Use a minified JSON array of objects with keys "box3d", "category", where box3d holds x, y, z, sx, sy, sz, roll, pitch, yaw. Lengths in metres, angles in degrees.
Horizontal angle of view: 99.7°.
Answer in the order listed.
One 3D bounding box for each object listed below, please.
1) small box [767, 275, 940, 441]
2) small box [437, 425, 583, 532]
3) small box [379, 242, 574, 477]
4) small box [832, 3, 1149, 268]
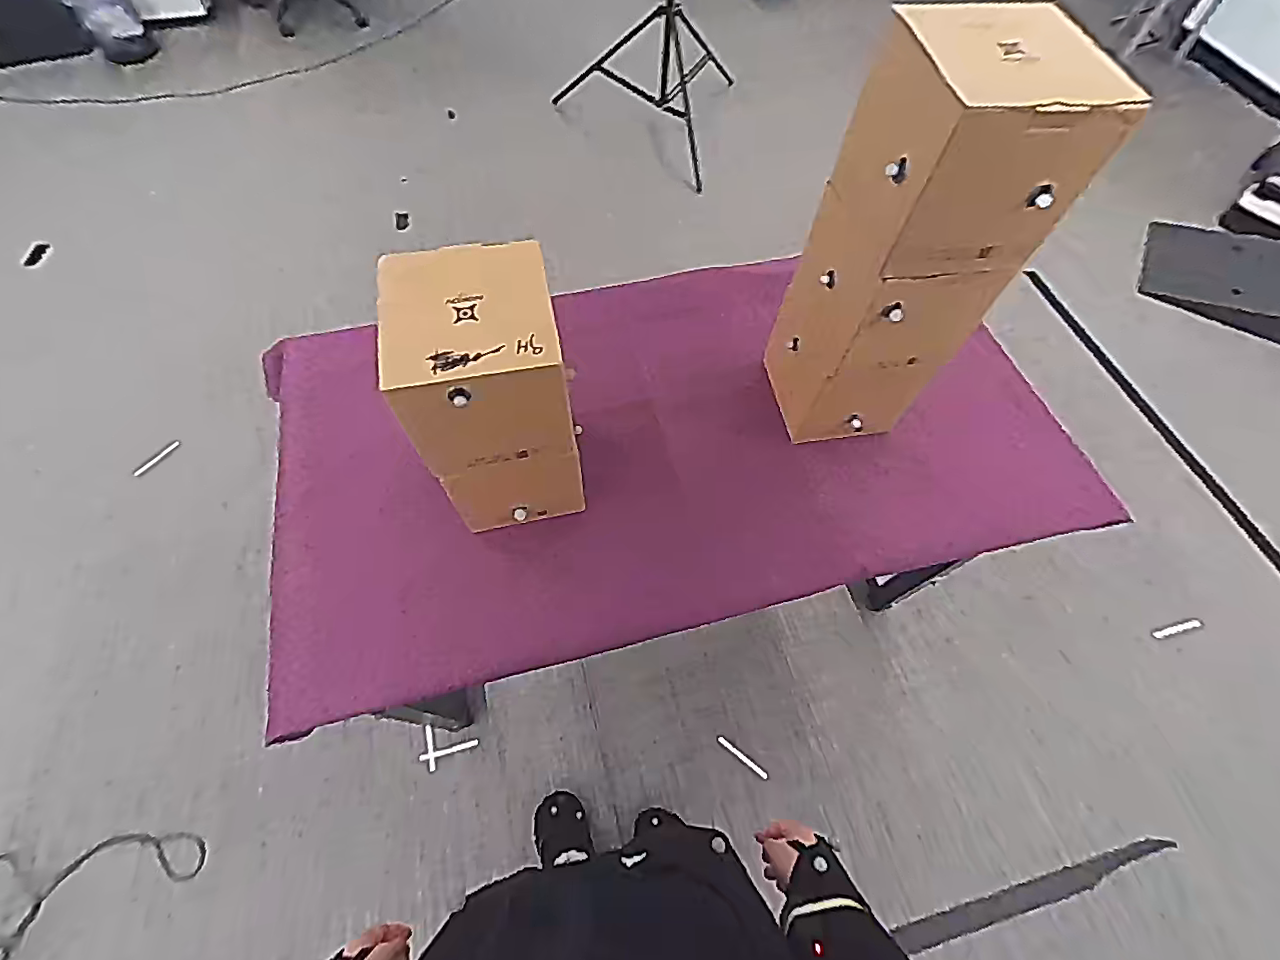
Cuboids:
[{"box3d":[0.308,-0.182,0.827,0.168,0.176,0.179,-8,63,-5],"category":"small box"},{"box3d":[-0.175,-0.051,0.739,0.168,0.176,0.179,-11,64,-8],"category":"small box"},{"box3d":[-0.170,-0.127,0.594,0.168,0.176,0.179,-10,63,-7],"category":"small box"},{"box3d":[0.316,-0.329,0.535,0.168,0.176,0.179,-6,61,-6],"category":"small box"}]
